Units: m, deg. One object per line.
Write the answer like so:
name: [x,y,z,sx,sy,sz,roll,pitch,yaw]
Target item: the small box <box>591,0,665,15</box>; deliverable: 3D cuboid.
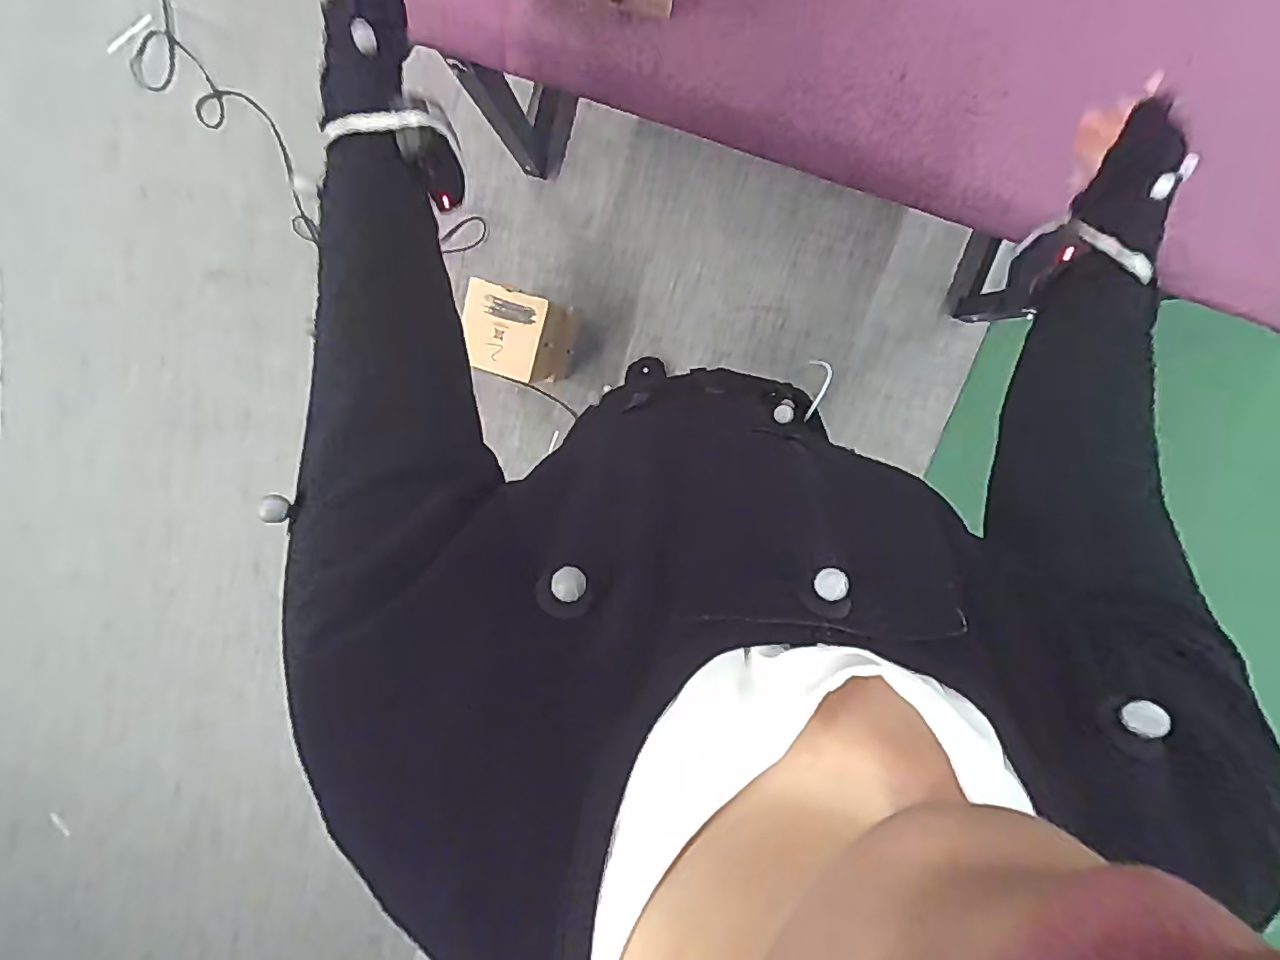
small box: [-0.036,-0.615,0.523,0.168,0.176,0.179,12,101,-2]
